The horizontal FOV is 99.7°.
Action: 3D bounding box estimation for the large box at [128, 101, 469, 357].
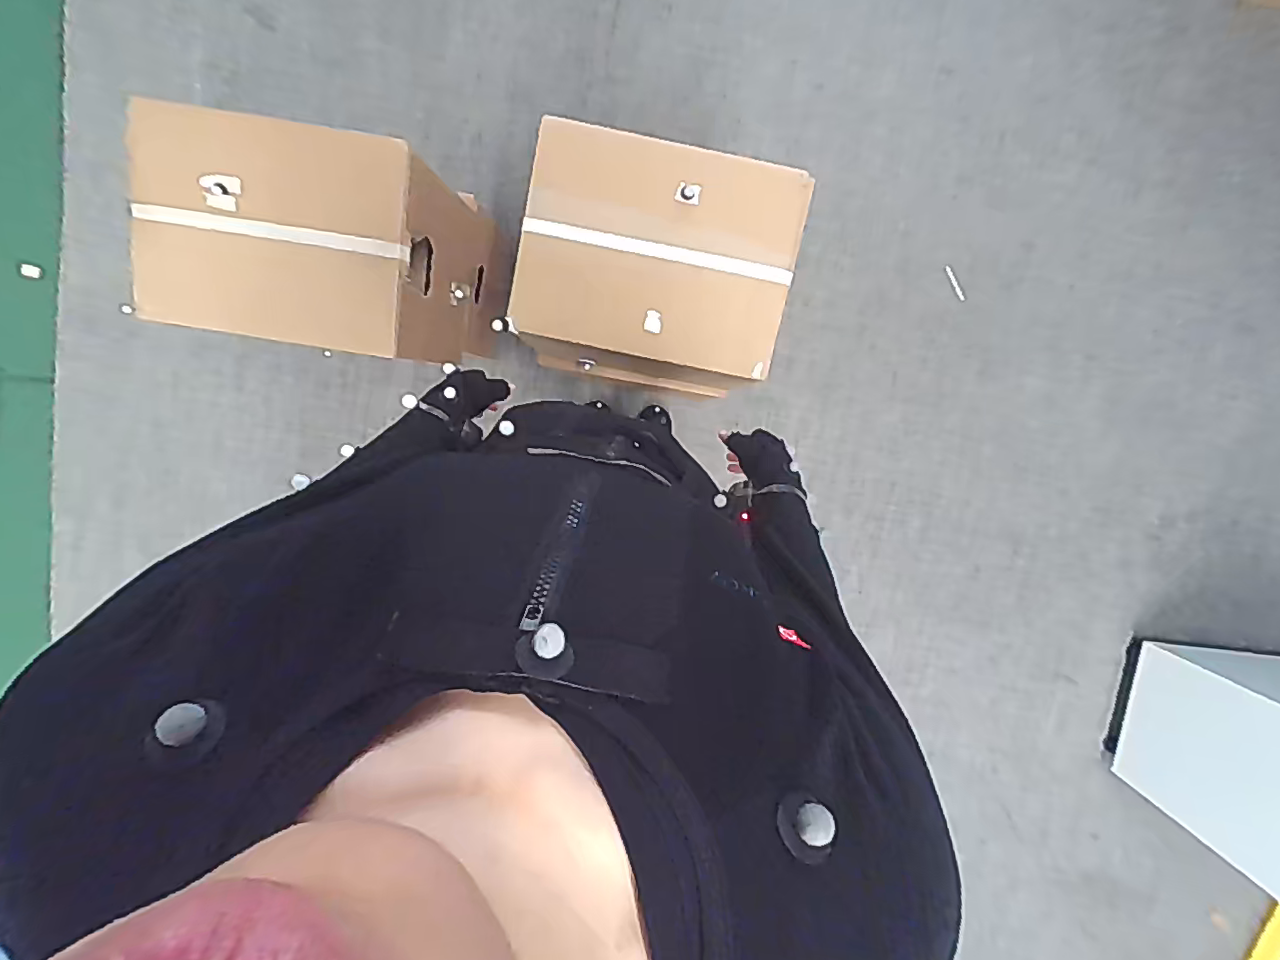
[{"bbox_3d":[-0.551,-0.396,0.946,0.408,0.320,0.320,9,100,0],"label":"large box"}]
